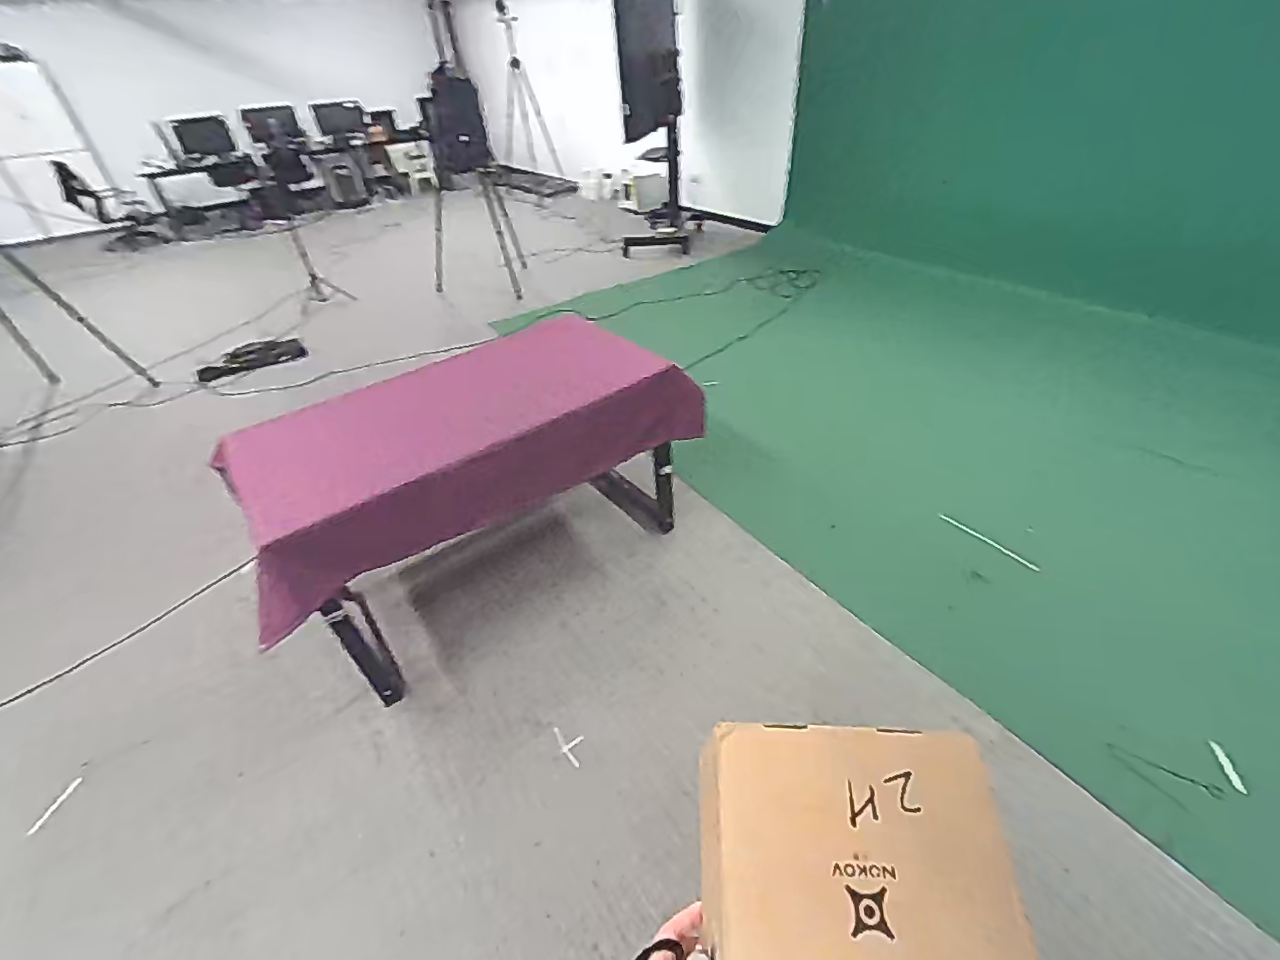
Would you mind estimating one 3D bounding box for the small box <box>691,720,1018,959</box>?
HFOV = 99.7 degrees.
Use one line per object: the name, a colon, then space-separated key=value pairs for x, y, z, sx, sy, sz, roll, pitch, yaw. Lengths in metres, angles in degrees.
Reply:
small box: x=0.123 y=0.276 z=0.372 sx=0.168 sy=0.176 sz=0.179 roll=1 pitch=56 yaw=2
